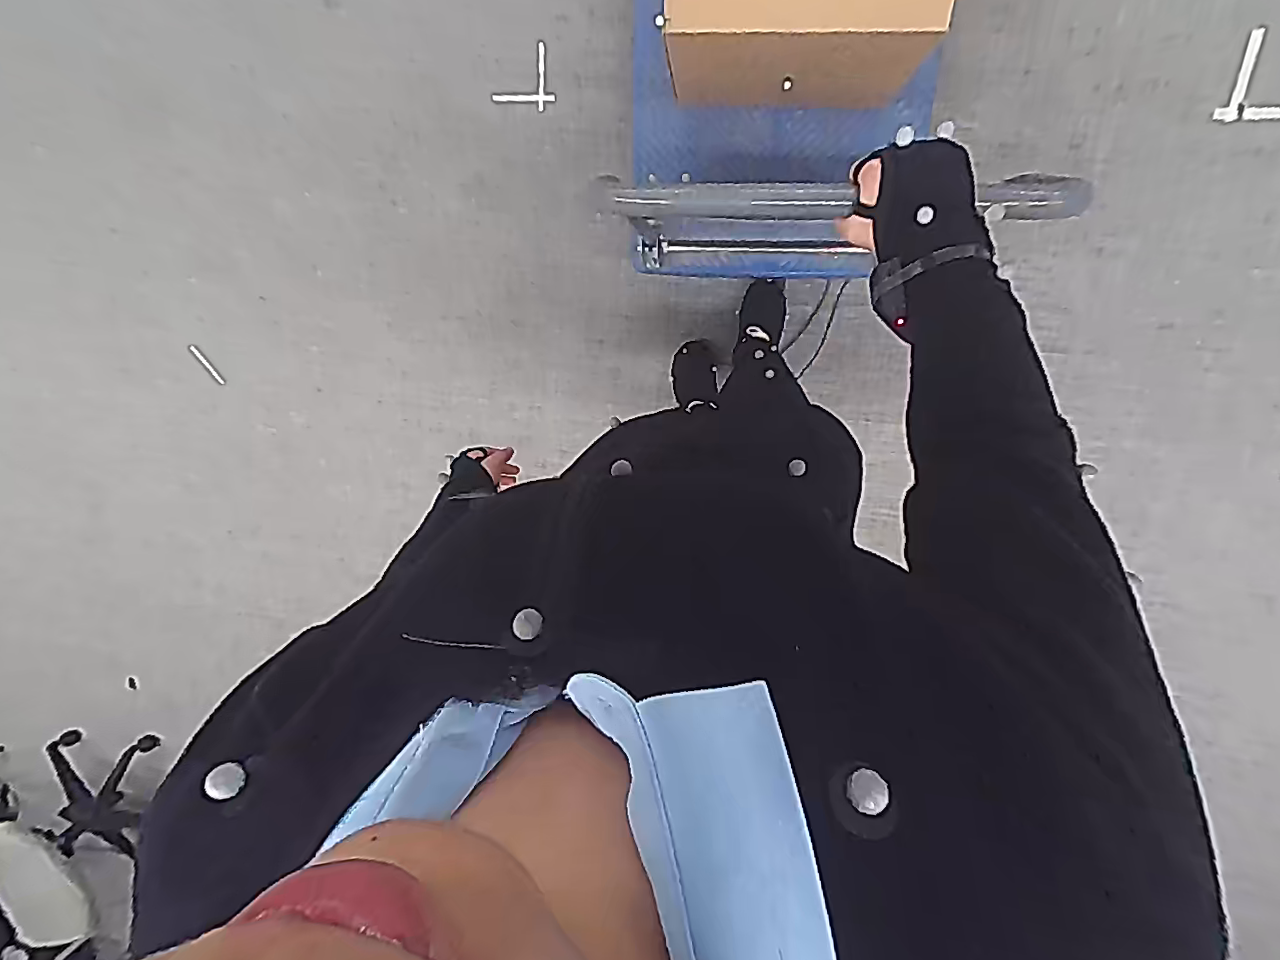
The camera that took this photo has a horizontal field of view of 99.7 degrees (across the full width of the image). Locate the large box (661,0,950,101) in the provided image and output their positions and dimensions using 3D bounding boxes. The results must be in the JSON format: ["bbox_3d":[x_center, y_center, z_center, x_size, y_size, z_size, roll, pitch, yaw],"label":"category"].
[{"bbox_3d":[0.257,-0.836,0.863,0.408,0.320,0.320,5,107,8],"label":"large box"}]
